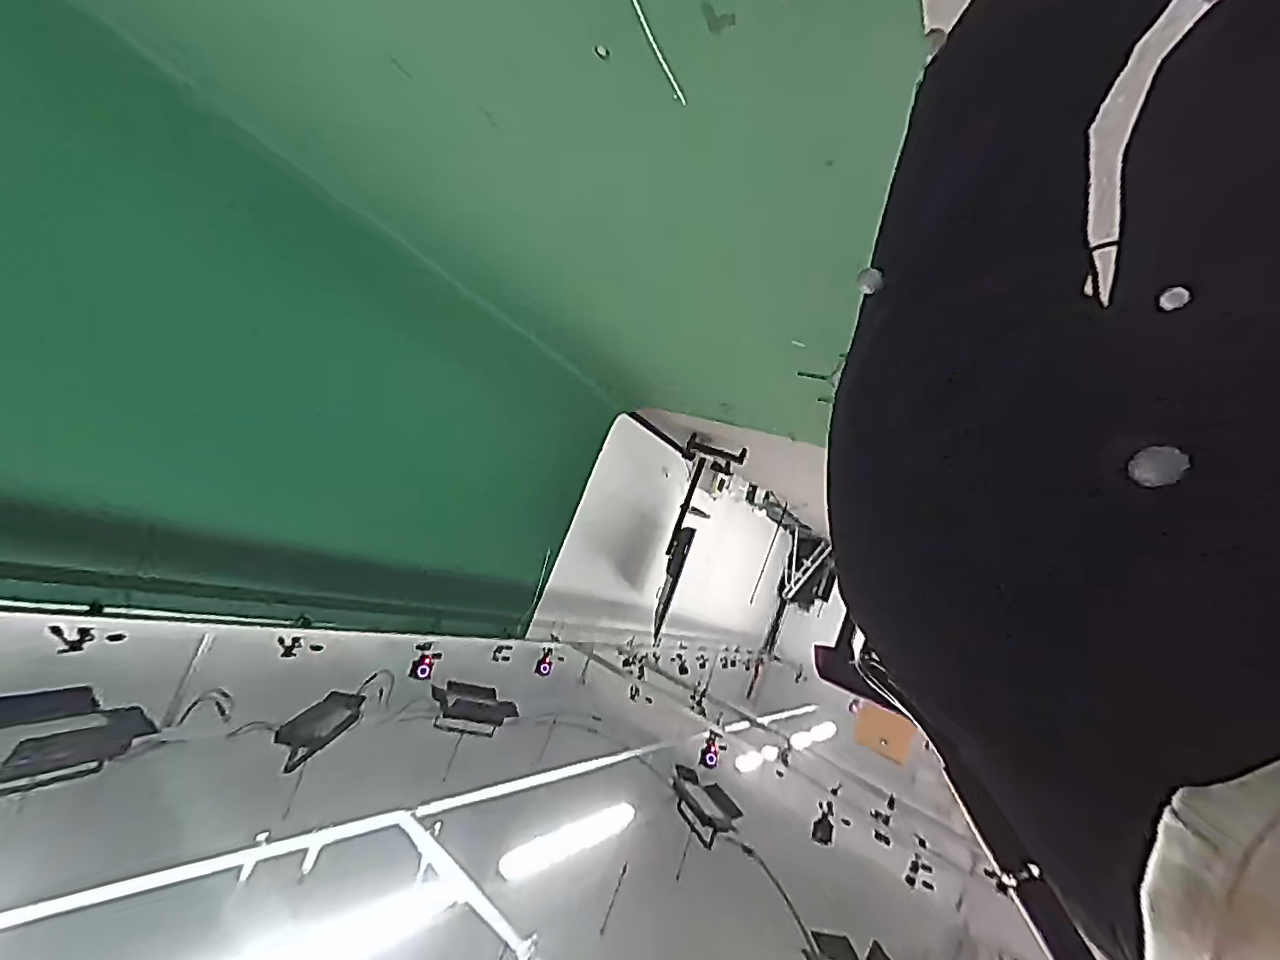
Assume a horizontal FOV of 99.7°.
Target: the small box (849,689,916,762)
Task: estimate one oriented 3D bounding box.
[{"bbox_3d":[0.880,0.877,1.948,0.179,0.176,0.168,18,174,34],"label":"small box"}]
